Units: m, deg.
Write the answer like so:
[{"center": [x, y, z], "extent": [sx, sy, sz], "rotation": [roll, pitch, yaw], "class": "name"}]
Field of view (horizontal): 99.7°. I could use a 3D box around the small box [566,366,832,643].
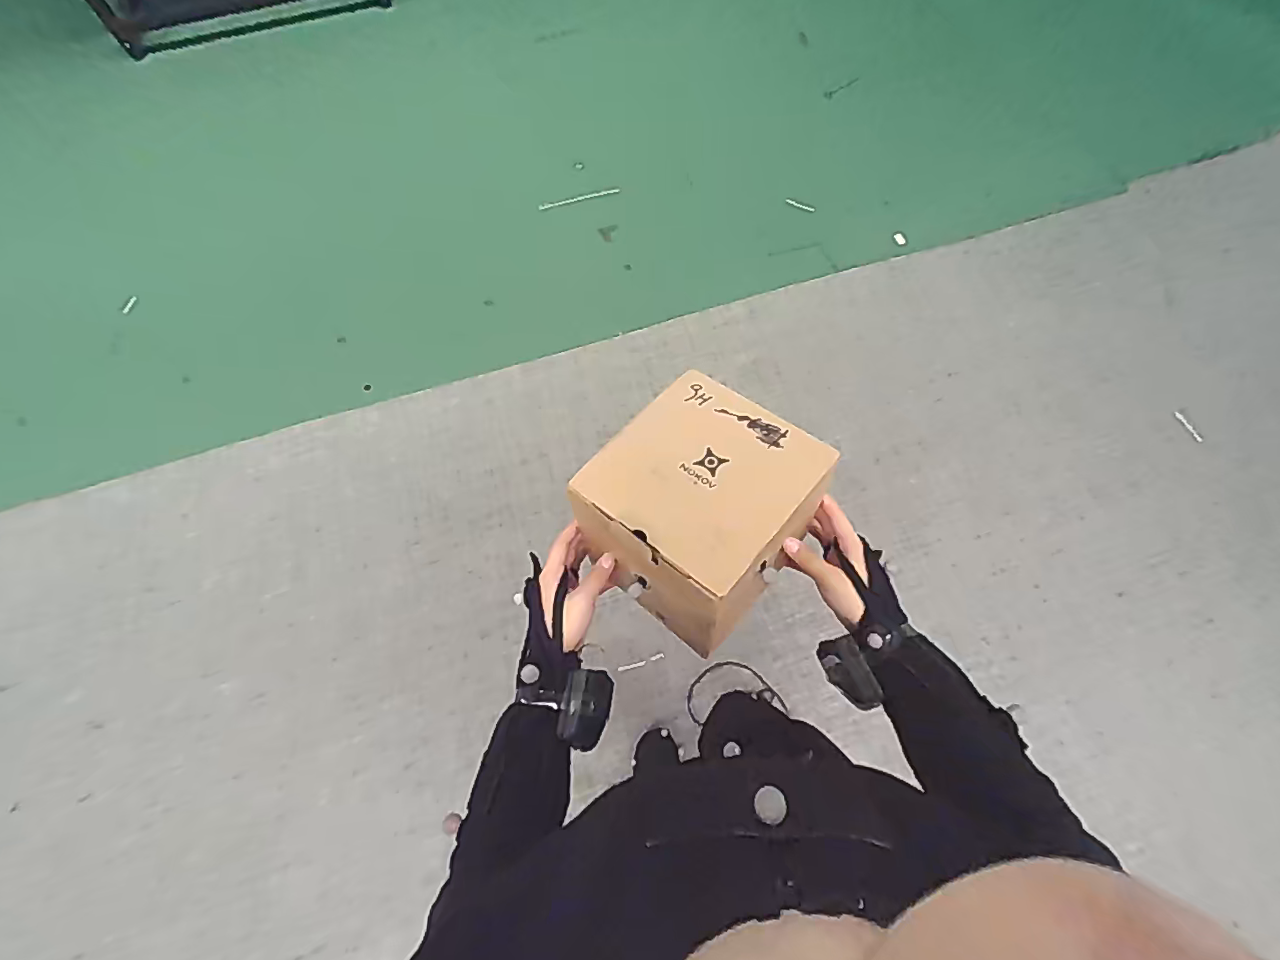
[{"center": [0.057, 0.030, 0.532], "extent": [0.168, 0.176, 0.179], "rotation": [35, 67, 23], "class": "small box"}]
